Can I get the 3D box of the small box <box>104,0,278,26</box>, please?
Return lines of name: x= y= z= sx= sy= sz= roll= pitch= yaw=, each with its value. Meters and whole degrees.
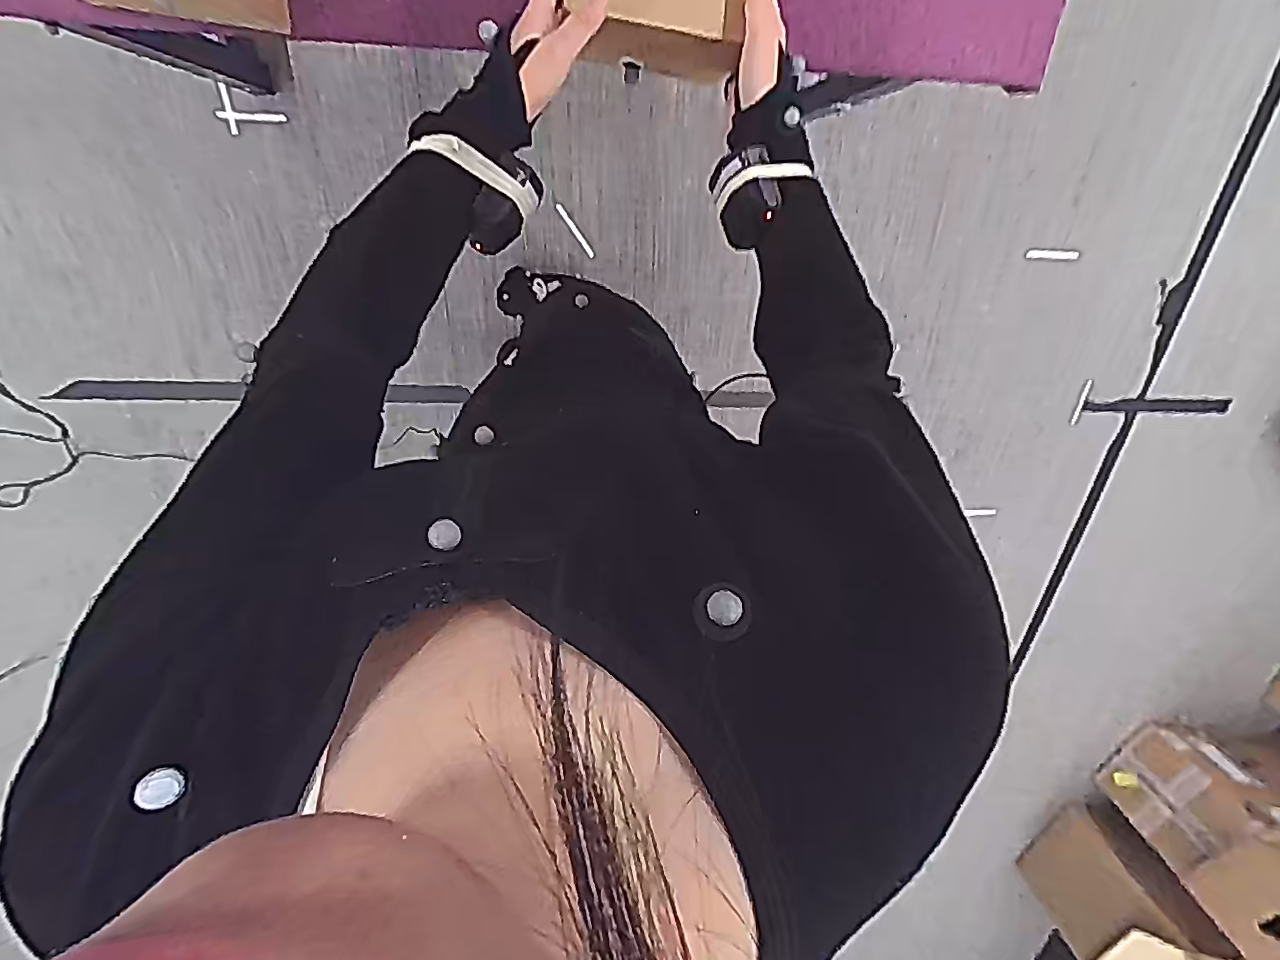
small box: x=-0.405 y=-0.476 z=0.407 sx=0.179 sy=0.176 sz=0.168 roll=3 pitch=116 yaw=-8

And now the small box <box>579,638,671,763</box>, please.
small box: x=-0.036 y=0.438 z=1.074 sx=0.168 sy=0.176 sz=0.179 roll=0 pitch=118 yaw=-7

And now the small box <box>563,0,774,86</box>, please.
small box: x=0.022 y=-0.469 z=0.461 sx=0.168 sy=0.176 sz=0.179 roll=3 pitch=117 yaw=-9

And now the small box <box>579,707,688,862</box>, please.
small box: x=-0.020 y=0.511 z=0.928 sx=0.168 sy=0.176 sz=0.179 roll=-1 pitch=117 yaw=-6
